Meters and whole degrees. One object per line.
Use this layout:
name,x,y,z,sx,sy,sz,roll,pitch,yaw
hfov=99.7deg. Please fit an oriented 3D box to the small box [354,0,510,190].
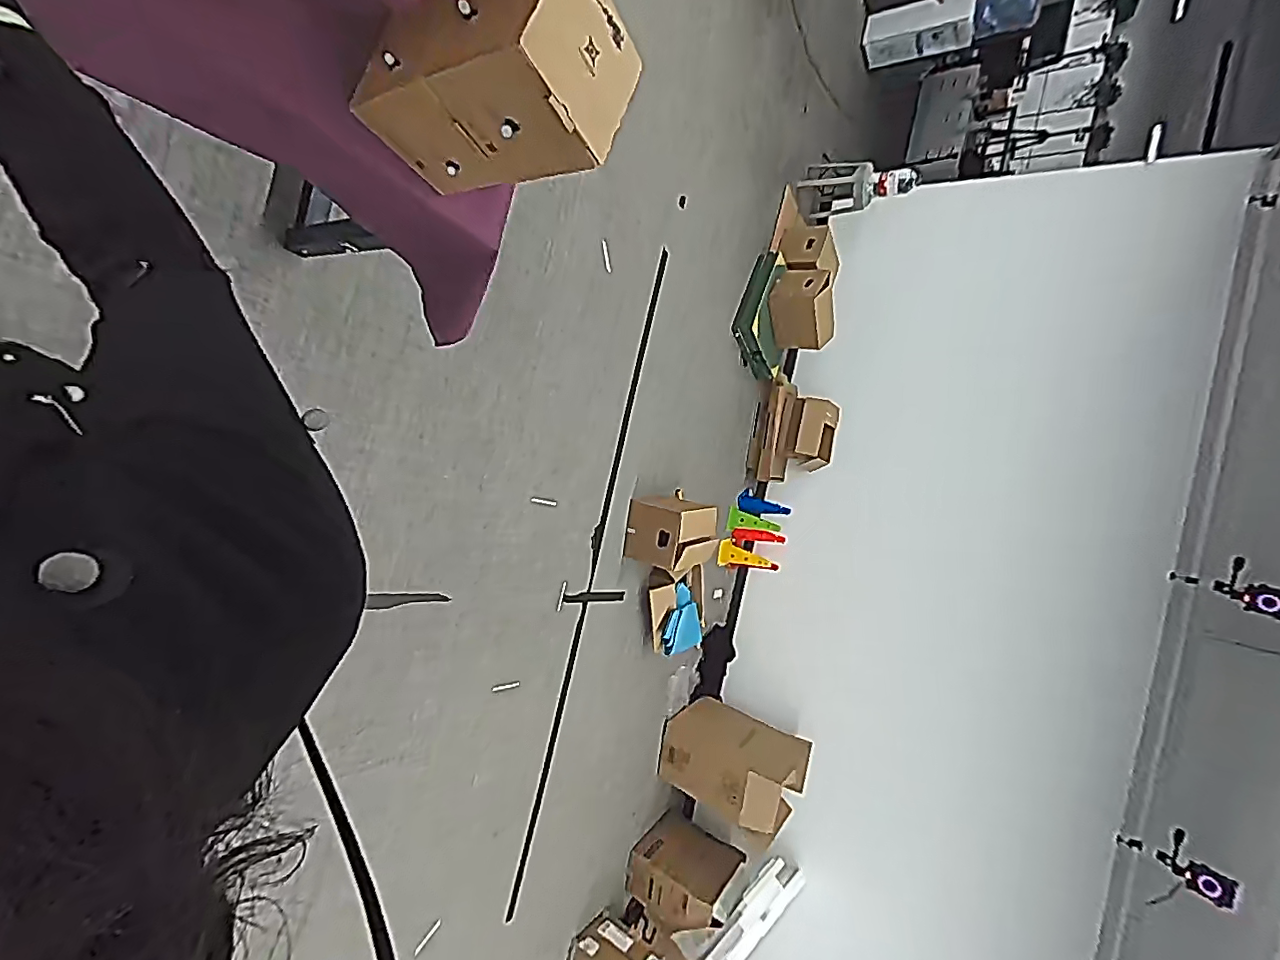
small box,-0.273,-0.549,0.775,0.168,0.176,0.179,32,72,-57

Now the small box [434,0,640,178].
small box,-0.132,-0.521,0.695,0.168,0.176,0.179,39,68,-56
